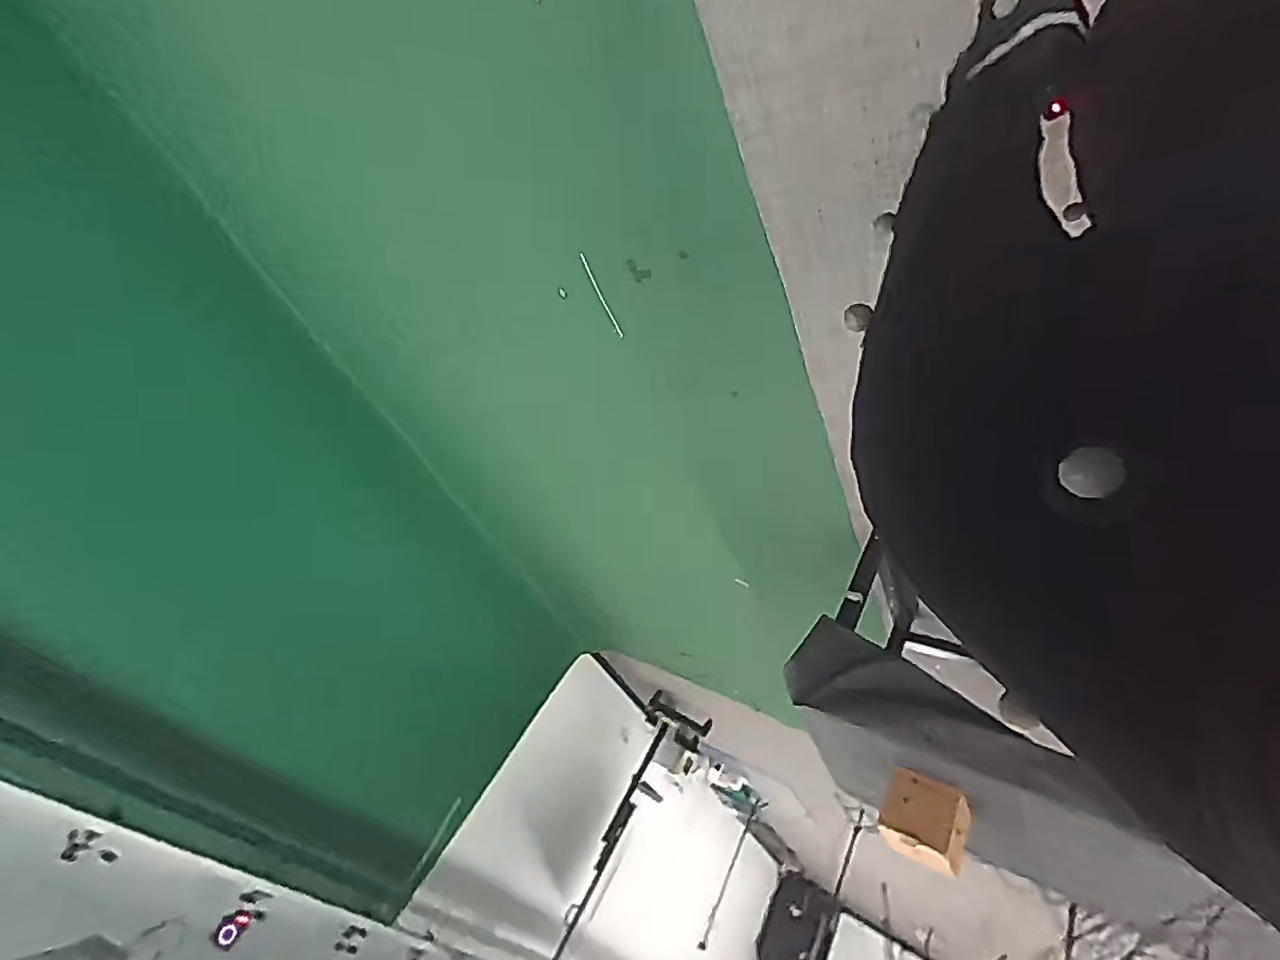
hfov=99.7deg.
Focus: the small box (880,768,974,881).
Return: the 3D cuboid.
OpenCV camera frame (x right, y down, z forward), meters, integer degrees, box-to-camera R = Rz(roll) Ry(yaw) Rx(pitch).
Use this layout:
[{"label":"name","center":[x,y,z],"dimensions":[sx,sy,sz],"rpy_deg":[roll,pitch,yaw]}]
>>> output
[{"label":"small box","center":[0.754,0.890,1.413],"dimensions":[0.168,0.176,0.179],"rpy_deg":[4,138,45]}]
